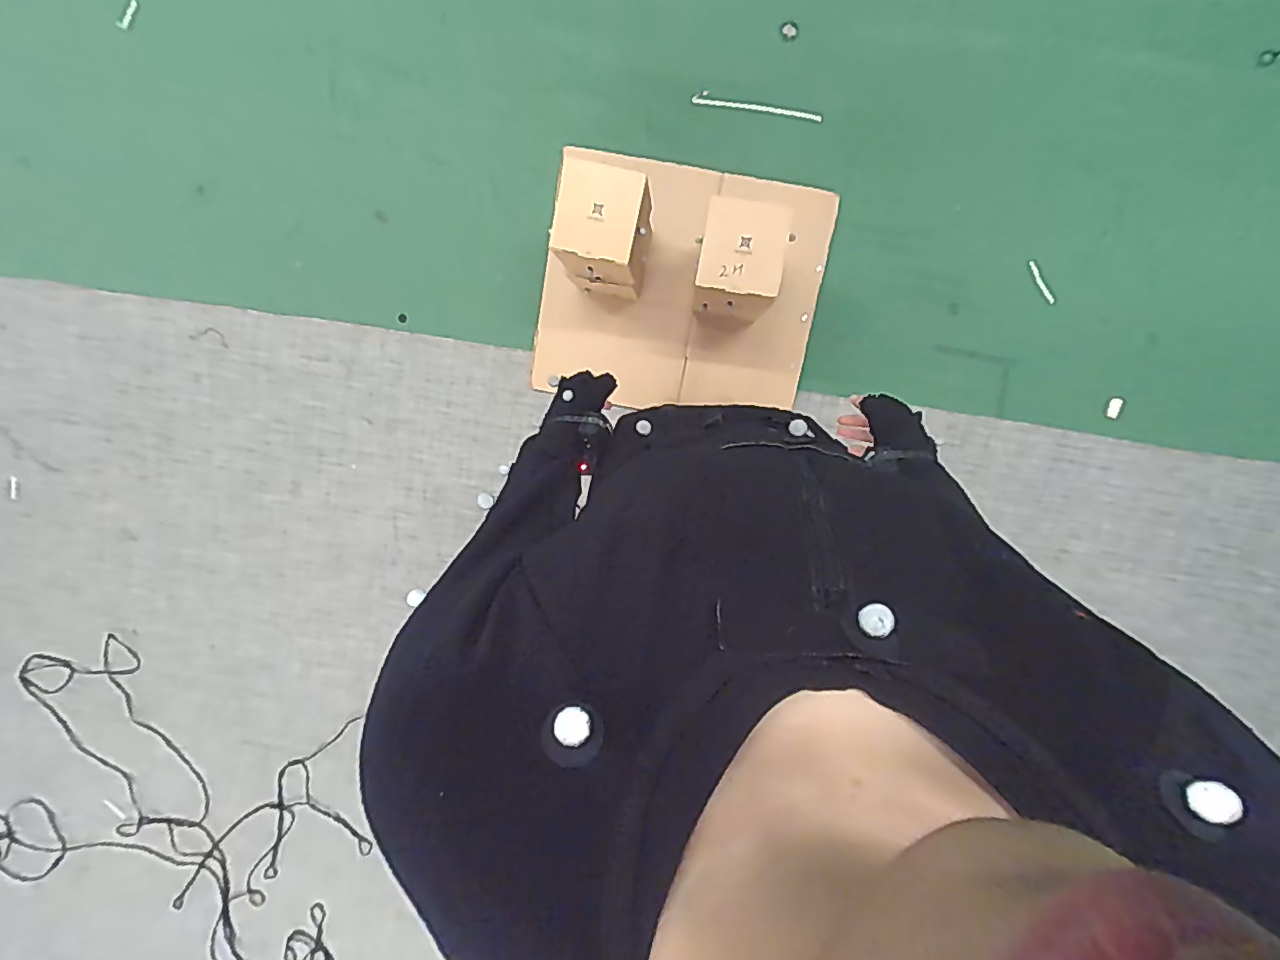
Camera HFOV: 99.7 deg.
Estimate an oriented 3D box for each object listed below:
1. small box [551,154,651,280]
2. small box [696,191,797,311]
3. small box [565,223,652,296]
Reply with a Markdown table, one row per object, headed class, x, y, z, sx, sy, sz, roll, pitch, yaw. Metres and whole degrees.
| class | x | y | z | sx | sy | sz | roll | pitch | yaw |
| --- | --- | --- | --- | --- | --- | --- | --- | --- | --- |
| small box | -0.074 | -0.539 | 1.133 | 0.168 | 0.176 | 0.179 | 14 | 100 | 2 |
| small box | 0.211 | -0.465 | 1.122 | 0.168 | 0.176 | 0.179 | 11 | 99 | 3 |
| small box | -0.069 | -0.553 | 1.295 | 0.168 | 0.176 | 0.179 | 13 | 99 | 3 |
